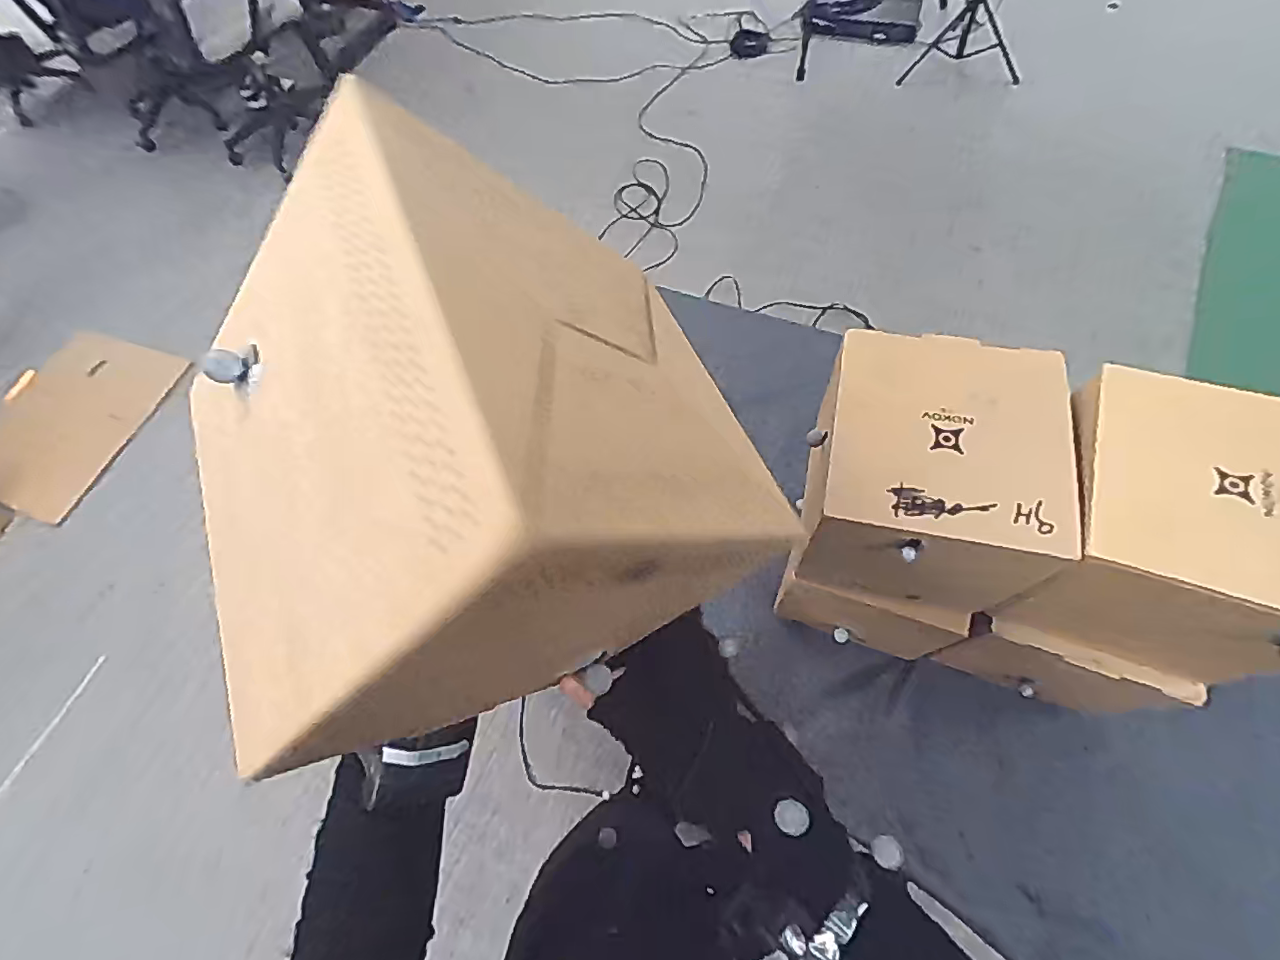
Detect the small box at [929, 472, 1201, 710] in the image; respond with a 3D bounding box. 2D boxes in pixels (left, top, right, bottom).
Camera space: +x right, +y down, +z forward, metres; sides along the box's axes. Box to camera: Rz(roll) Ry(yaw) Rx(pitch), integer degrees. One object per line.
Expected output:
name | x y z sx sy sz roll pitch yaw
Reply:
small box | 0.433 0.123 0.575 0.168 0.176 0.179 19 68 17
